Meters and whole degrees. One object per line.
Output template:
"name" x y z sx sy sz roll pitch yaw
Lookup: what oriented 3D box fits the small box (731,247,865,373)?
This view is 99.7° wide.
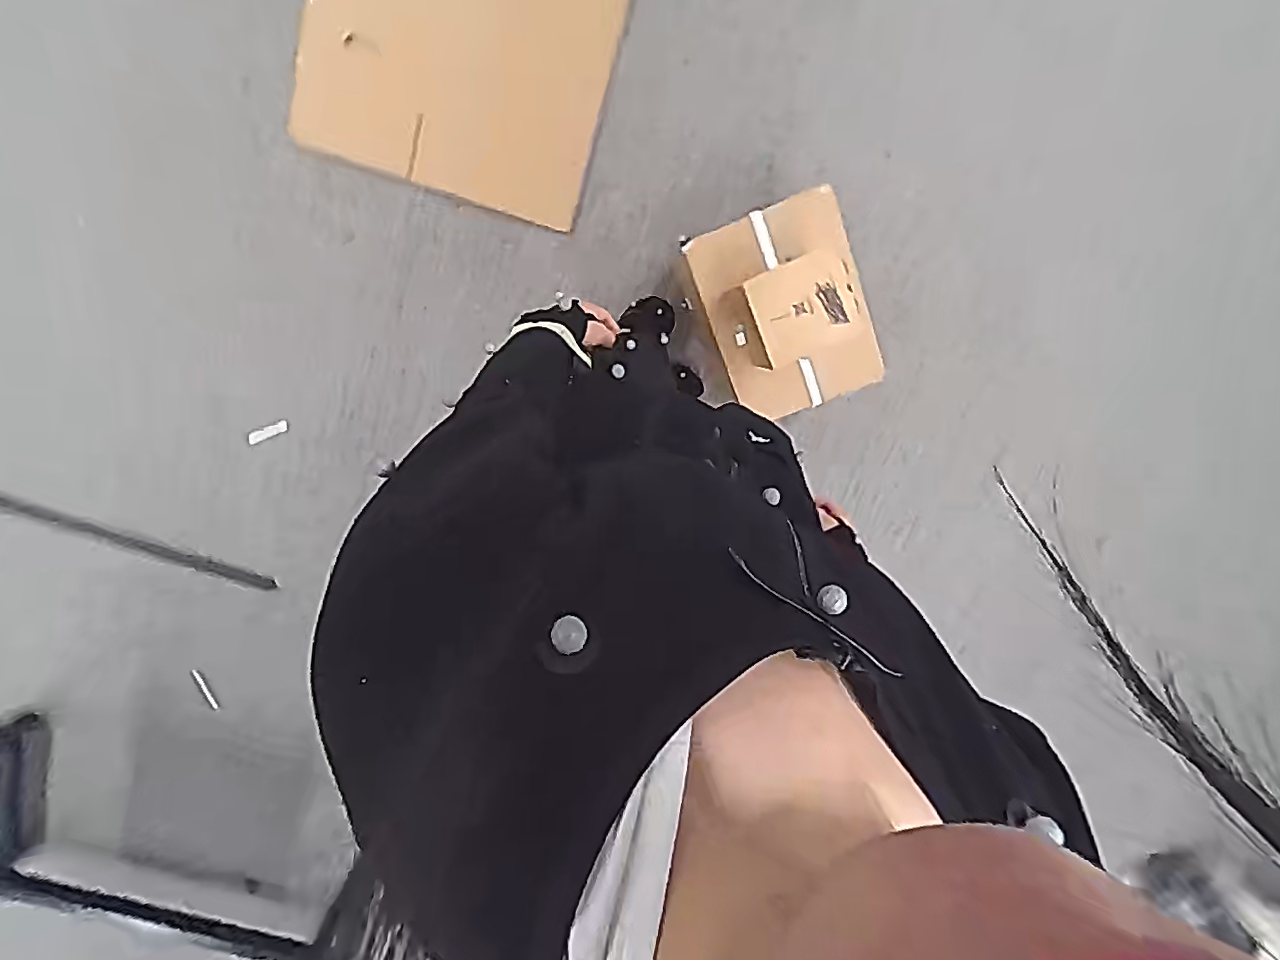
"small box" 0.288 -0.315 1.018 0.179 0.176 0.168 -22 103 6
